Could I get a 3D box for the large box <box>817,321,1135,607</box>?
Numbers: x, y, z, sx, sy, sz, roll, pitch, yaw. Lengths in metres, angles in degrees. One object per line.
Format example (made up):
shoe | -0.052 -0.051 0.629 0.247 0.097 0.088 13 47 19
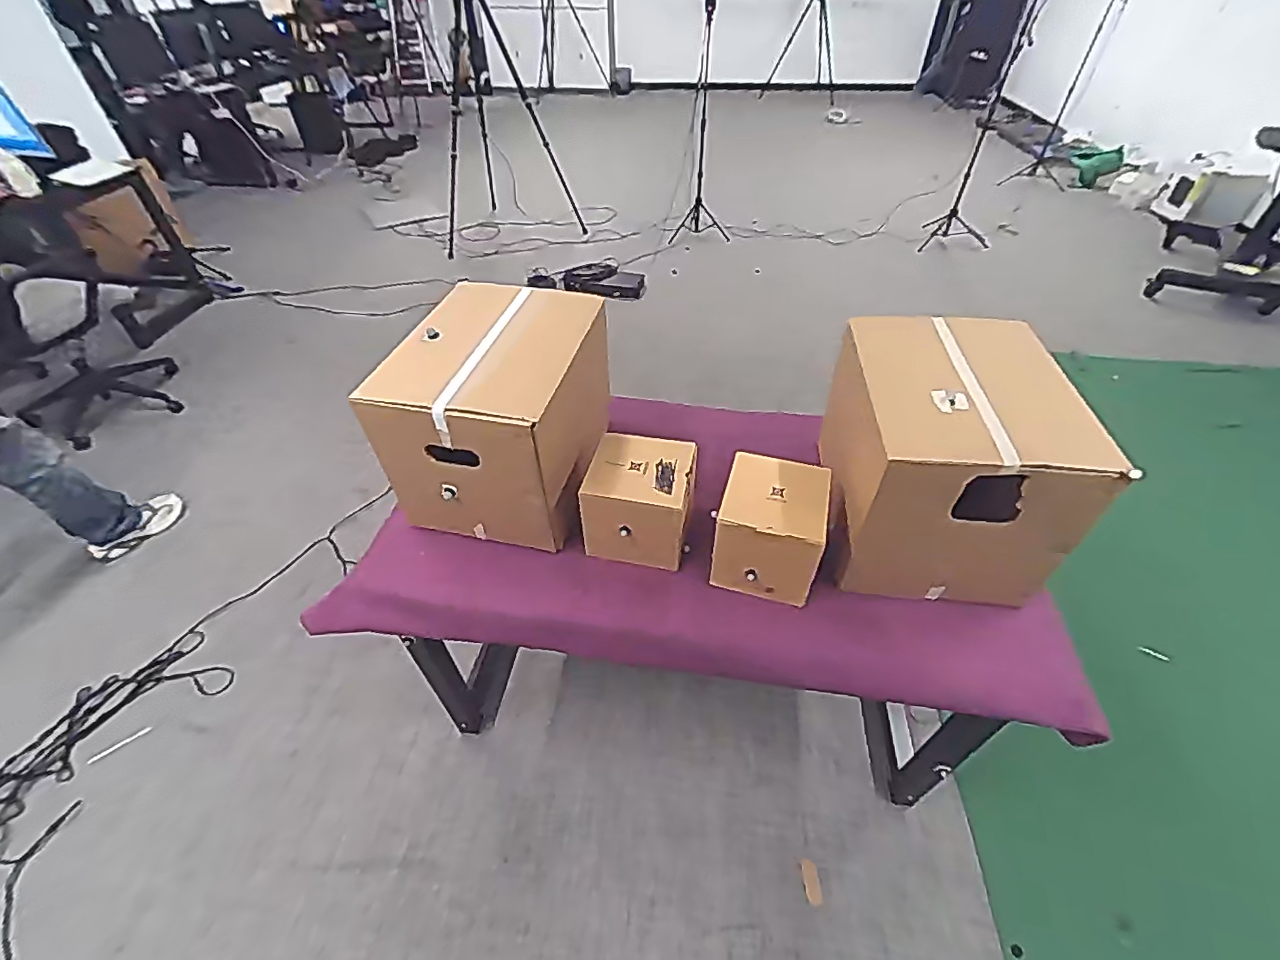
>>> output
large box | 0.518 -0.040 0.957 0.320 0.320 0.408 3 45 8
